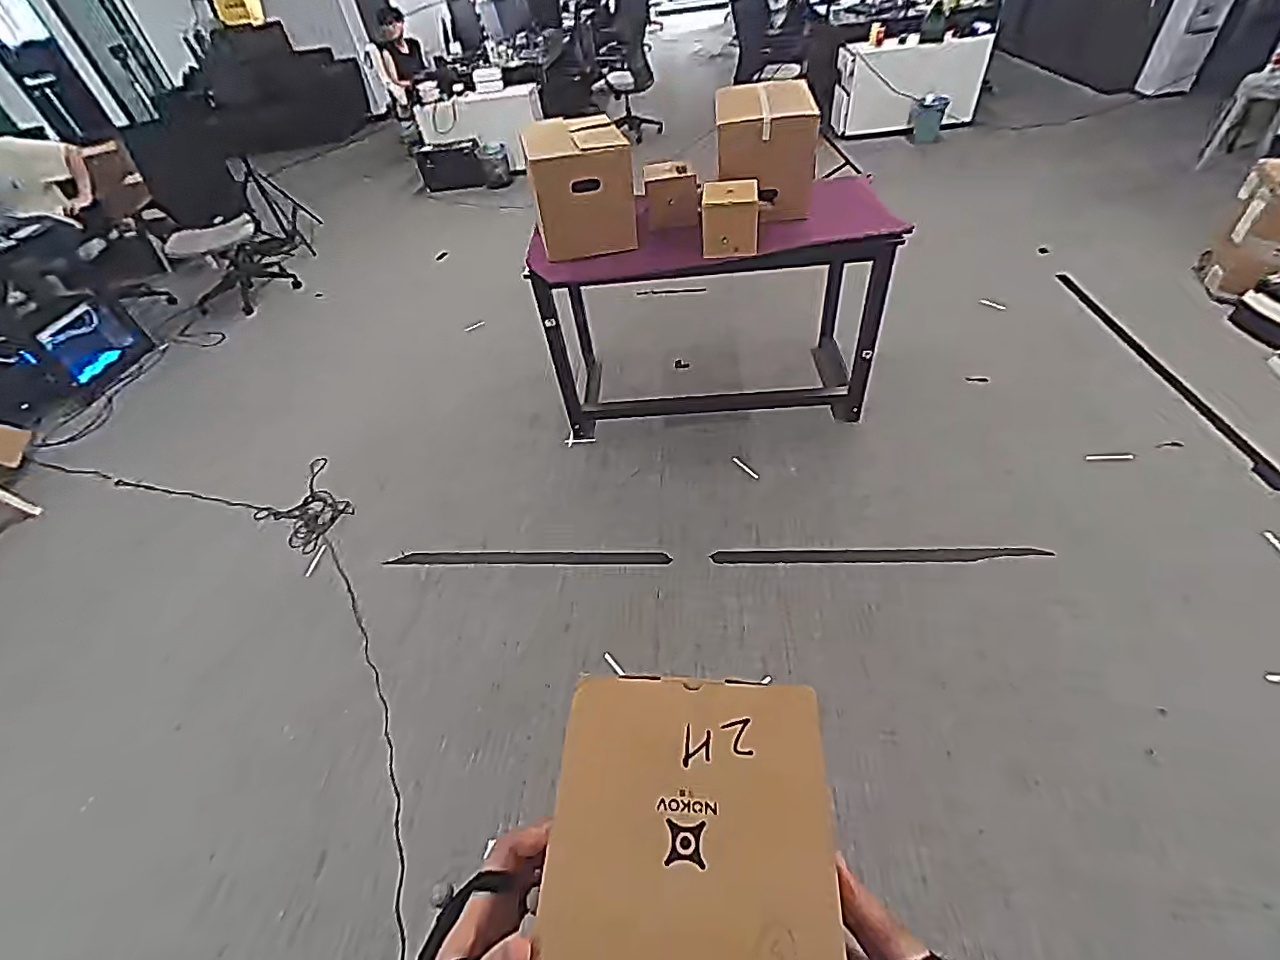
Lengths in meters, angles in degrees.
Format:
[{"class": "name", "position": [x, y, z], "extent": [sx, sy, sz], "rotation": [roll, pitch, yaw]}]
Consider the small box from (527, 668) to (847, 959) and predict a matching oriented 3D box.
[{"class": "small box", "position": [0.038, 0.250, 0.371], "extent": [0.168, 0.176, 0.179], "rotation": [0, 49, 8]}]
